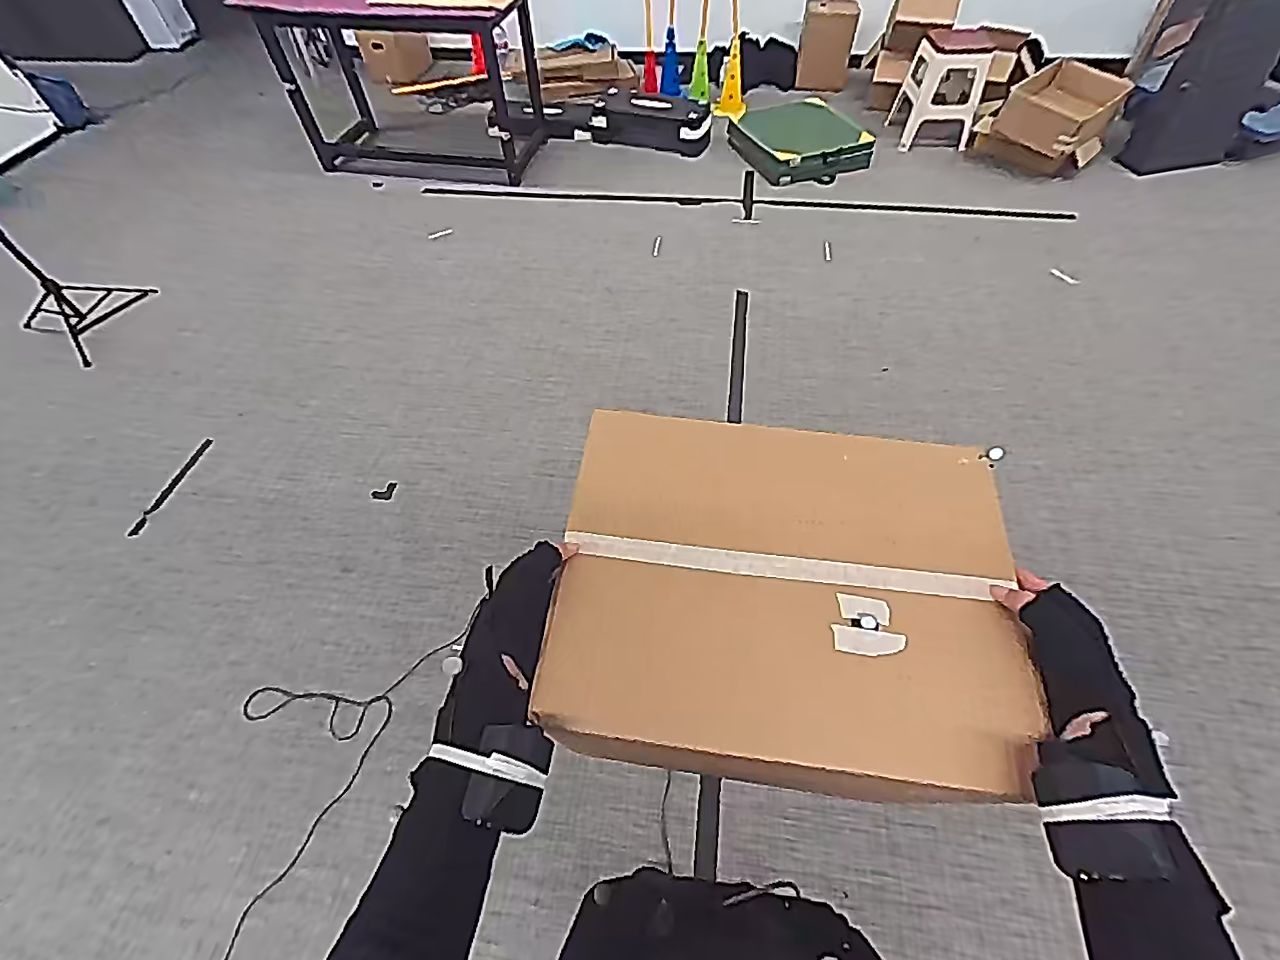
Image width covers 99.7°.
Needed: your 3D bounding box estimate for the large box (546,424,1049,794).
[{"bbox_3d":[0.134,0.162,0.627,0.408,0.320,0.320,6,60,4],"label":"large box"}]
